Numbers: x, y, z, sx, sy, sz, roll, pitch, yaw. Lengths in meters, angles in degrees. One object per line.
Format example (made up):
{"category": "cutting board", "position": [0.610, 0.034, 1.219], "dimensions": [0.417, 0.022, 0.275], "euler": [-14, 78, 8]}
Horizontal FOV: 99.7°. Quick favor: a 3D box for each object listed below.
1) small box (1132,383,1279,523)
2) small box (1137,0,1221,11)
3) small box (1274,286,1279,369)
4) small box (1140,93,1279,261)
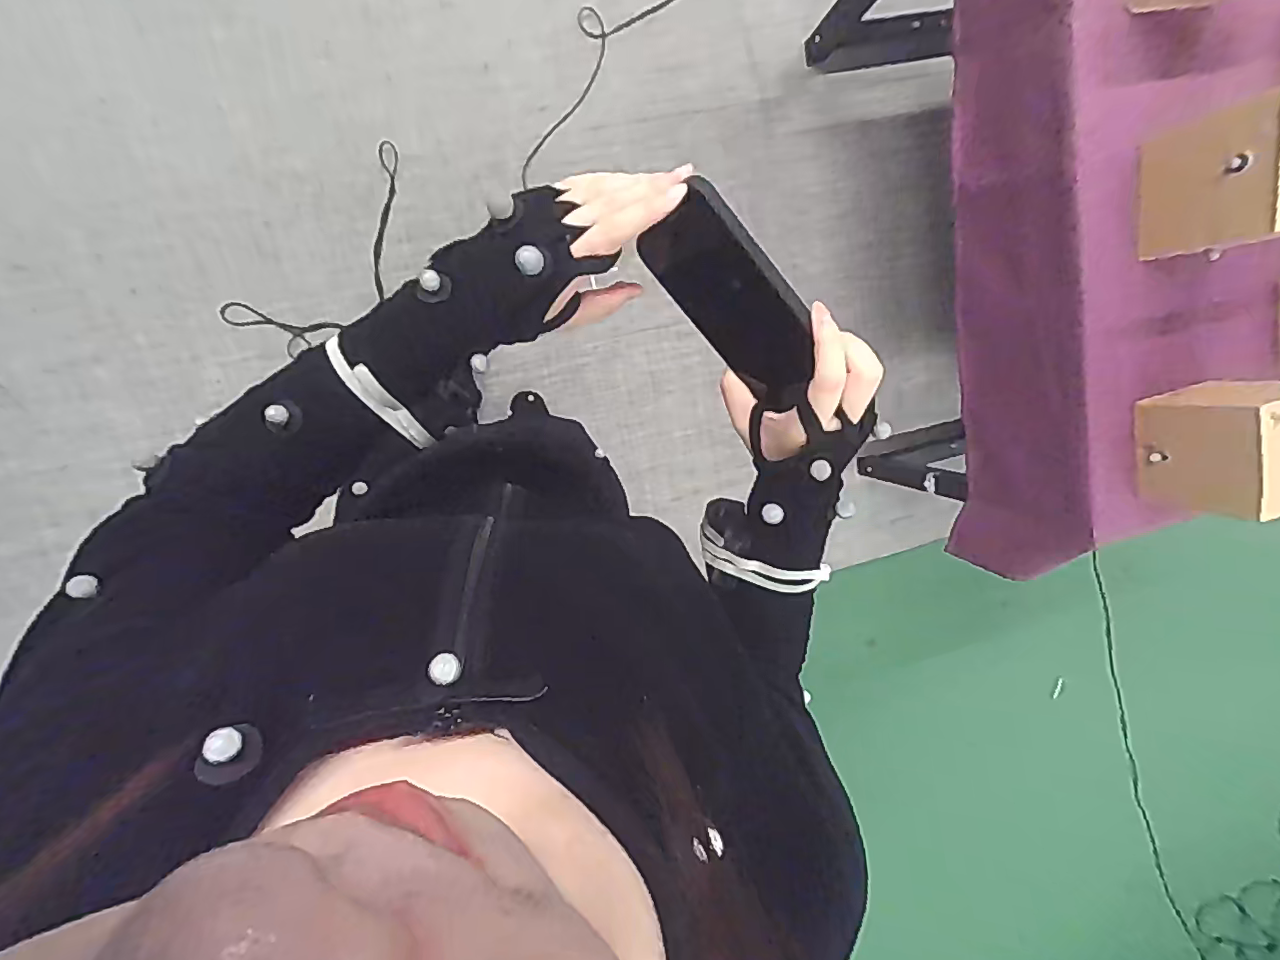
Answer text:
{"category": "small box", "position": [0.930, -0.052, 0.855], "dimensions": [0.168, 0.176, 0.179], "euler": [-14, 103, -9]}
{"category": "small box", "position": [0.791, -0.765, 0.702], "dimensions": [0.168, 0.176, 0.179], "euler": [-12, 103, -9]}
{"category": "small box", "position": [1.193, -0.276, 0.865], "dimensions": [0.179, 0.176, 0.168], "euler": [-16, 102, -7]}
{"category": "small box", "position": [0.874, -0.431, 0.777], "dimensions": [0.168, 0.176, 0.179], "euler": [-10, 103, -9]}
